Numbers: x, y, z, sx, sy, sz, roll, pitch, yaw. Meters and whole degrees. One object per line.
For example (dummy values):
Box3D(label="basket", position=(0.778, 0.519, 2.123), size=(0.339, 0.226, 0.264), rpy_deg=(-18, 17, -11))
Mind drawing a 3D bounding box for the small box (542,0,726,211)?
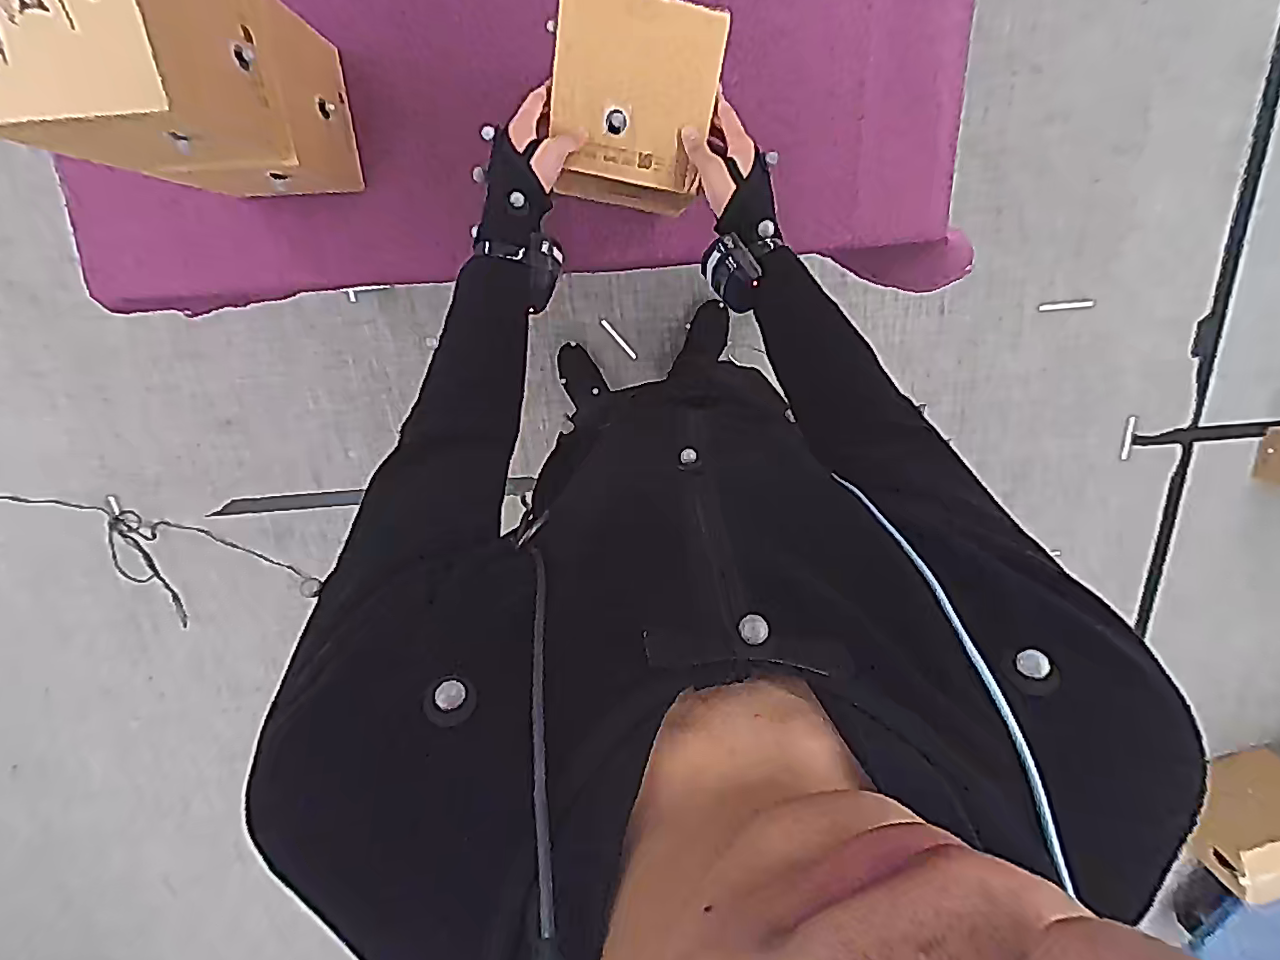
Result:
Box3D(label="small box", position=(-0.015, -0.412, 0.611), size=(0.168, 0.179, 0.176), rpy_deg=(7, 111, -6))

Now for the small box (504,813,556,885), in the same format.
Box3D(label="small box", position=(-0.419, 1.416, 2.086), size=(0.168, 0.176, 0.179), rpy_deg=(-2, 111, -1))

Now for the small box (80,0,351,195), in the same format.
Box3D(label="small box", position=(-0.466, -0.440, 0.634), size=(0.179, 0.176, 0.168), rpy_deg=(-3, 109, -1))
